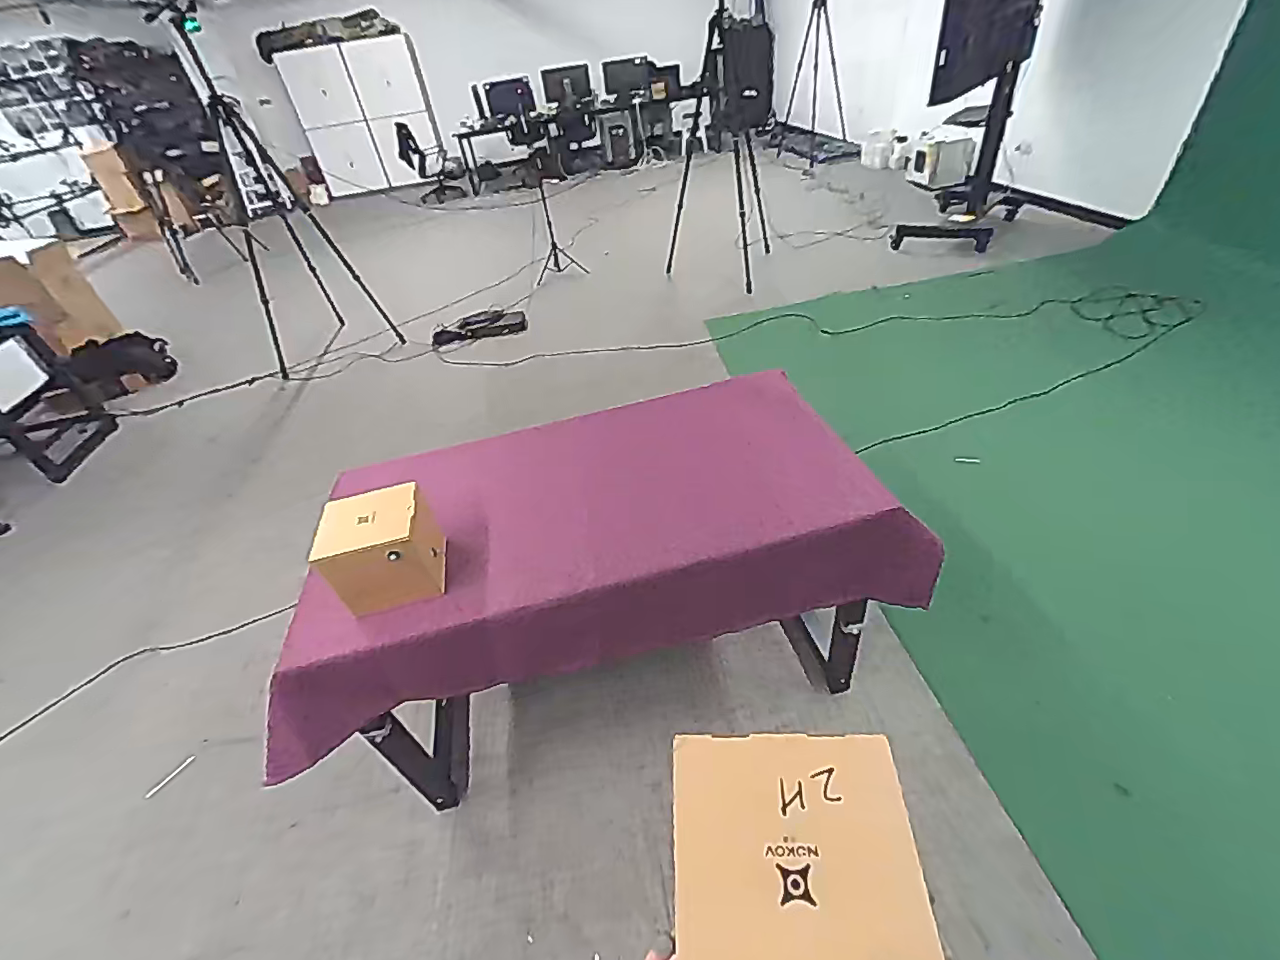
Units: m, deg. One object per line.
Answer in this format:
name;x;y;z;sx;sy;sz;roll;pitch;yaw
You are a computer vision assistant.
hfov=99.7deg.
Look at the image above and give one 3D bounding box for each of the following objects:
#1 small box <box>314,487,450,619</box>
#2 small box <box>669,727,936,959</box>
small box;-0.490;0.145;1.055;0.179;0.176;0.168;-15;39;-7
small box;0.112;0.312;0.428;0.168;0.176;0.179;-3;48;6
